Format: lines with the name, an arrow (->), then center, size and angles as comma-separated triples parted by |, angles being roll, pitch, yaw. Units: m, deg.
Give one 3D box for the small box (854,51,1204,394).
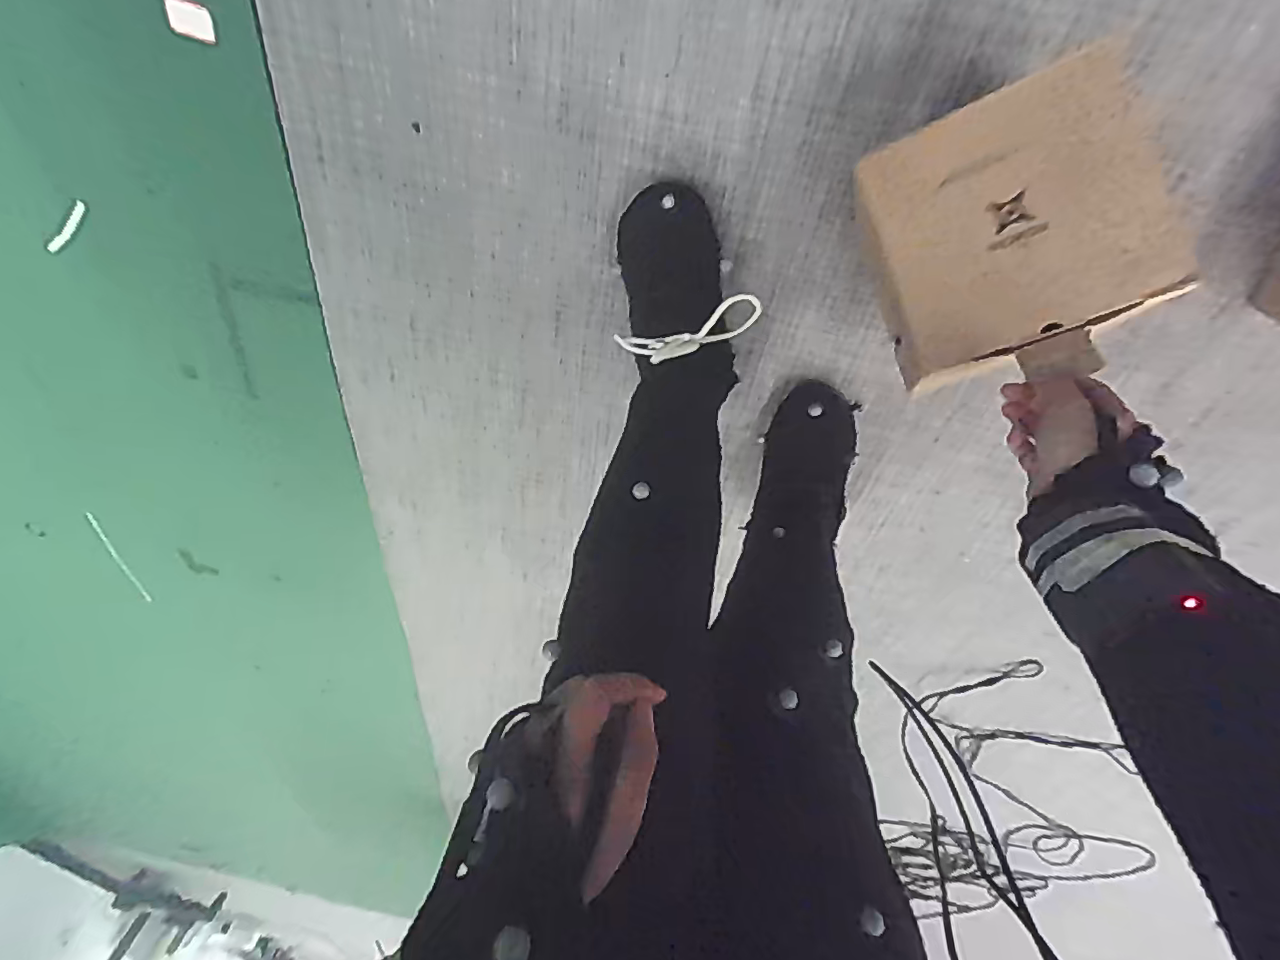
small box -> 0.292, -0.180, 0.450 | 0.168, 0.176, 0.179 | -20, 83, 23
